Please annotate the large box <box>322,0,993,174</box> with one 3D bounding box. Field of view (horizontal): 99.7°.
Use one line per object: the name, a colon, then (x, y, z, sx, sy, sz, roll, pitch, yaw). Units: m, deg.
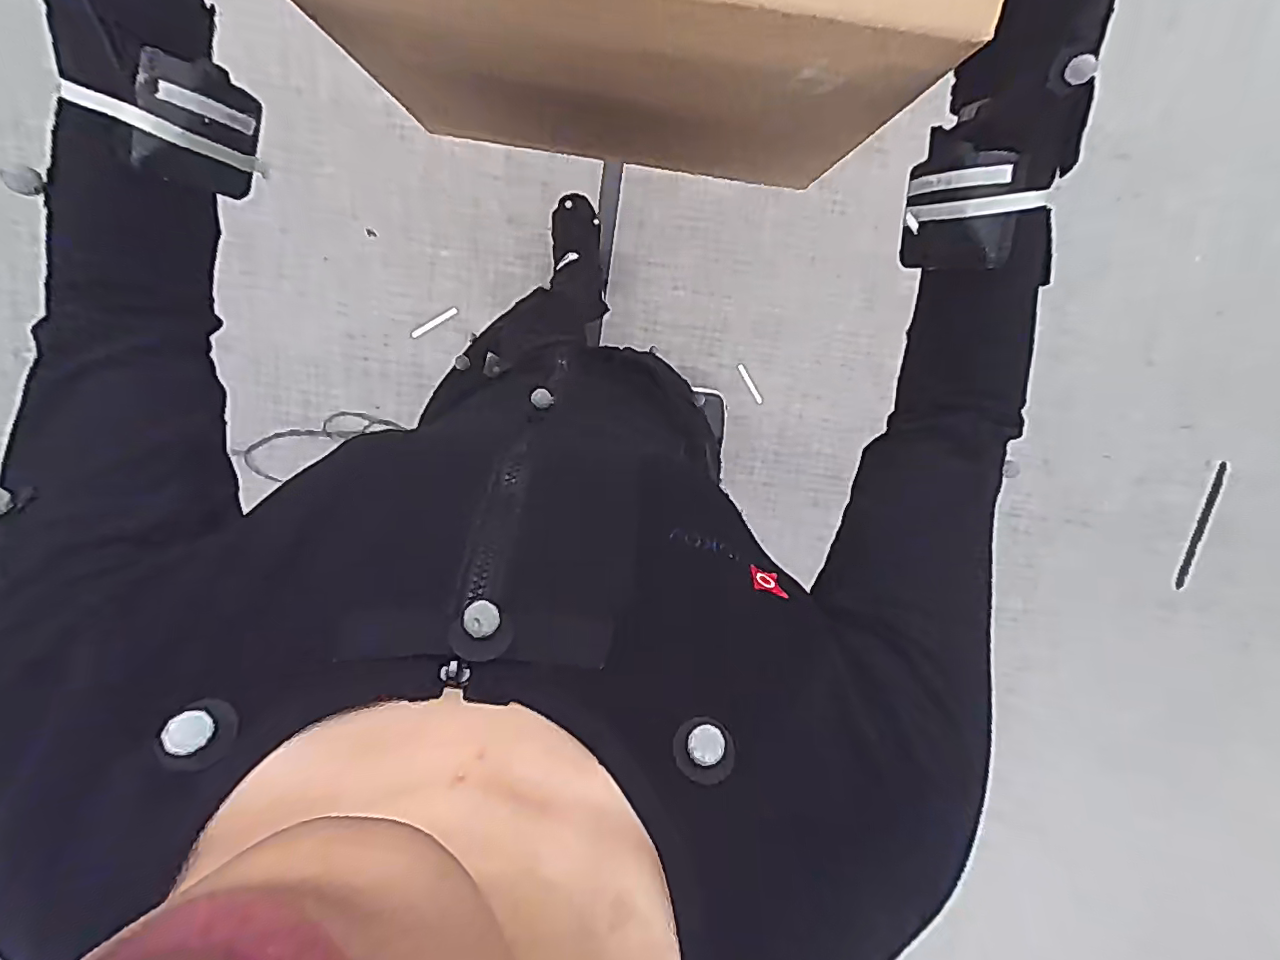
large box: (0.002, -0.449, 0.385, 0.408, 0.320, 0.320, 6, 106, -4)
